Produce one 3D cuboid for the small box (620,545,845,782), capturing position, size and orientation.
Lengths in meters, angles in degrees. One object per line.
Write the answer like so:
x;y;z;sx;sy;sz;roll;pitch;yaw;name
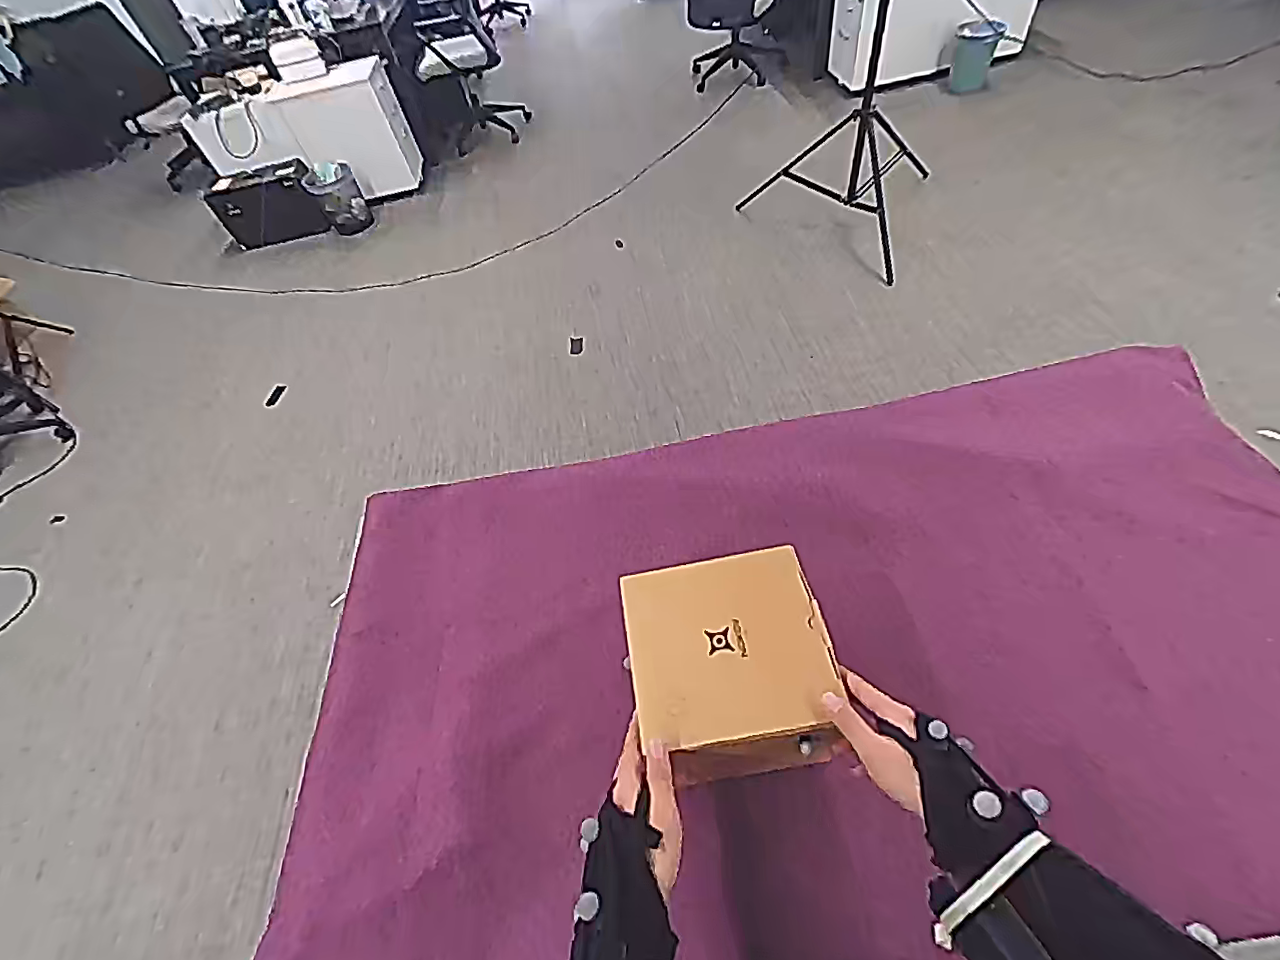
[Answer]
0.086;0.192;0.549;0.179;0.176;0.168;-11;51;2;small box
